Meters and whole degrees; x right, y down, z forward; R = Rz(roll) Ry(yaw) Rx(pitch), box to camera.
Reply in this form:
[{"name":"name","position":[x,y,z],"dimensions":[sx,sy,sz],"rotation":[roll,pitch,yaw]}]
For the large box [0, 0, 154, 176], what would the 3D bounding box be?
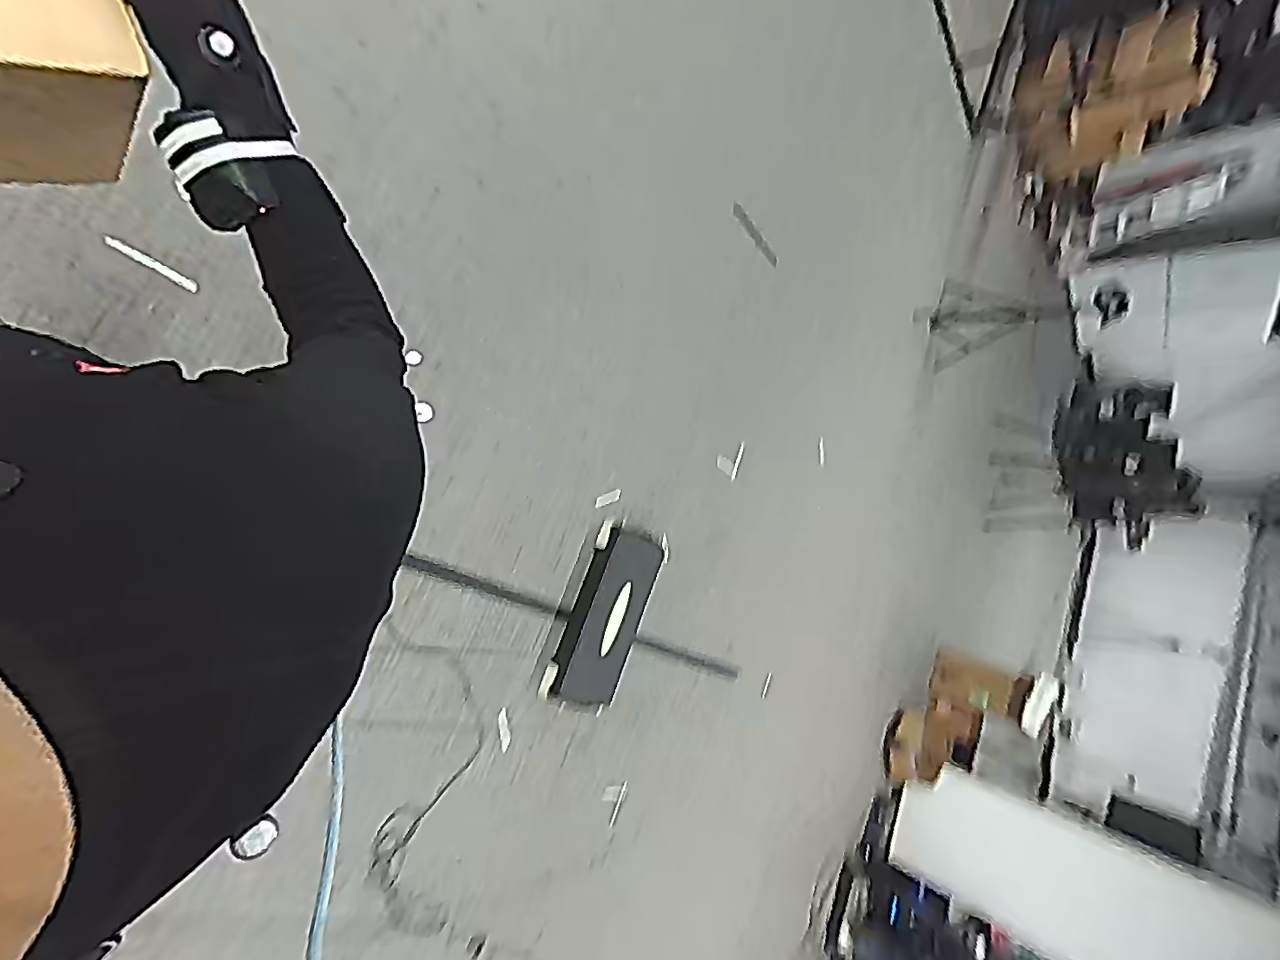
[{"name":"large box","position":[-0.580,-0.362,0.273],"dimensions":[0.408,0.320,0.320],"rotation":[-26,118,-42]}]
